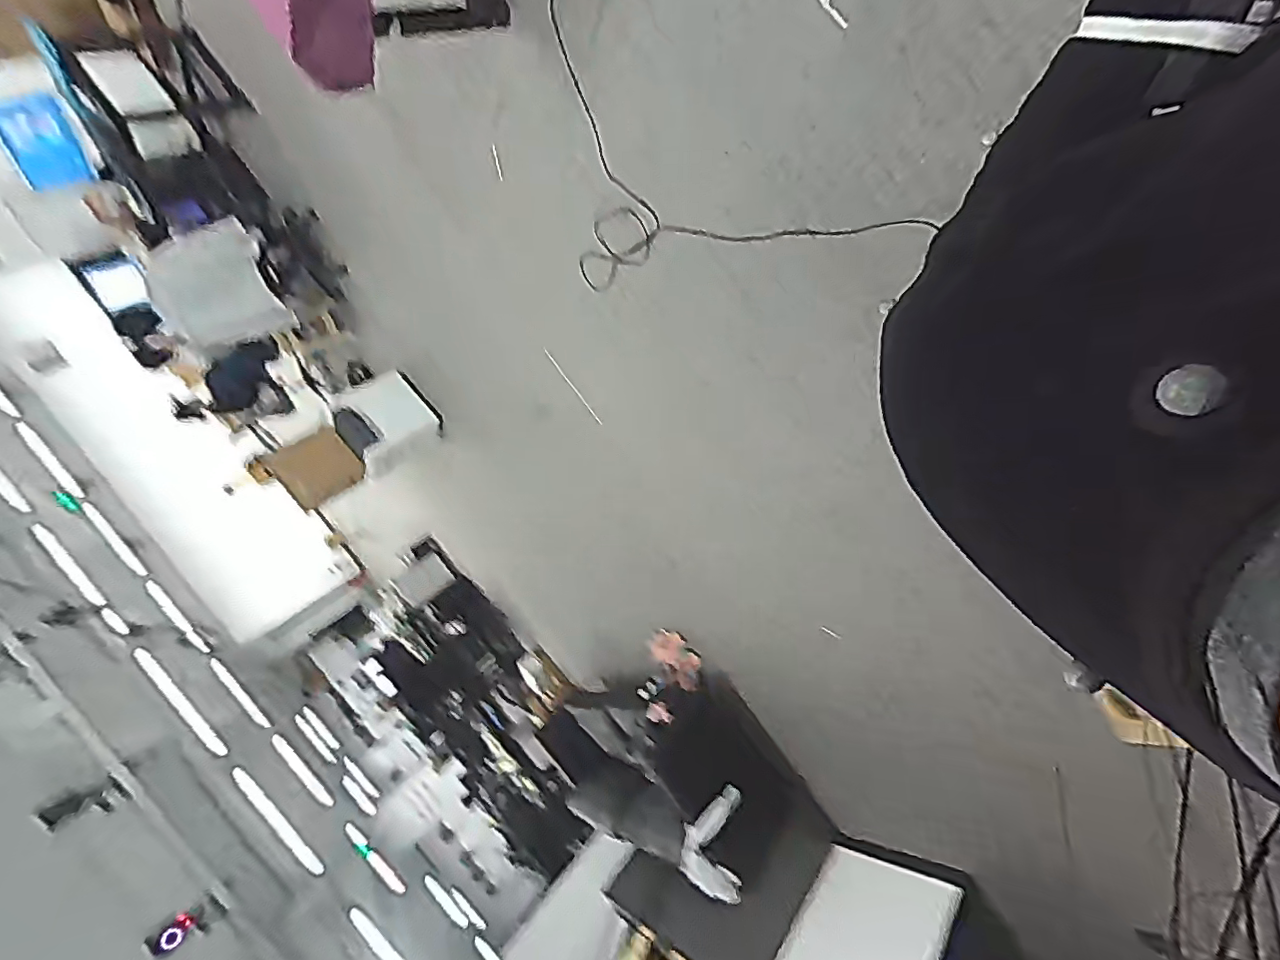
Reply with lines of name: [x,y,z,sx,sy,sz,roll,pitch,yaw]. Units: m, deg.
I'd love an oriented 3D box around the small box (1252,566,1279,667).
small box: [1.221,0.252,0.932,0.168,0.176,0.179,55,148,-2]

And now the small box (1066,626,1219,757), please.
small box: [0.983,0.403,1.058,0.179,0.176,0.168,-25,99,51]
